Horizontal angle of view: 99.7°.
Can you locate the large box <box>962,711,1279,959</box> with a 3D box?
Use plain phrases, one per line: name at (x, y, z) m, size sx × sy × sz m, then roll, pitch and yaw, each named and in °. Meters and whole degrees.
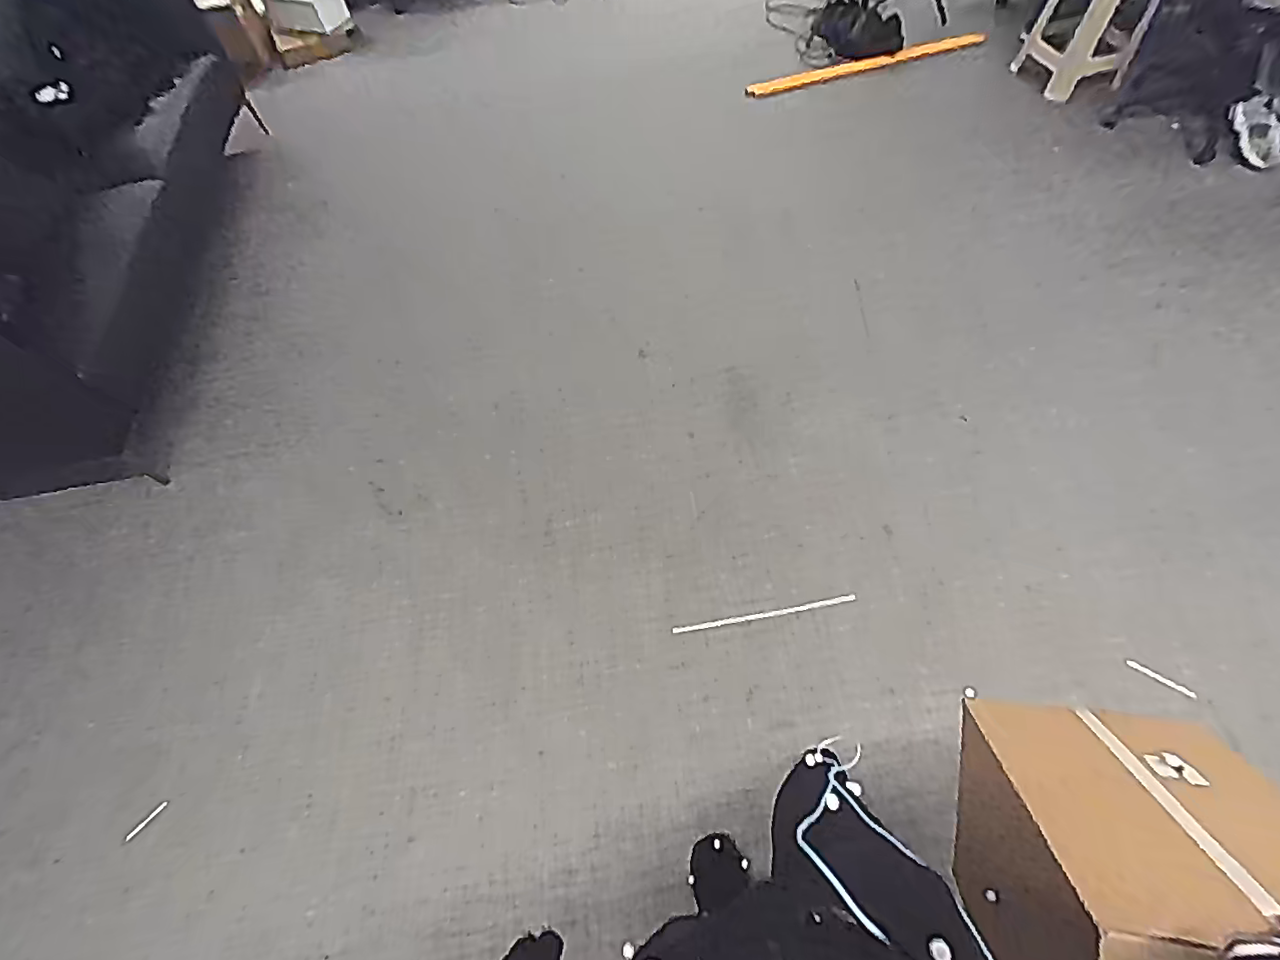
large box at (0.621, 0.540, 0.650) m, size 0.320 × 0.408 × 0.320 m, roll 2°, pitch 97°, yaw 15°
